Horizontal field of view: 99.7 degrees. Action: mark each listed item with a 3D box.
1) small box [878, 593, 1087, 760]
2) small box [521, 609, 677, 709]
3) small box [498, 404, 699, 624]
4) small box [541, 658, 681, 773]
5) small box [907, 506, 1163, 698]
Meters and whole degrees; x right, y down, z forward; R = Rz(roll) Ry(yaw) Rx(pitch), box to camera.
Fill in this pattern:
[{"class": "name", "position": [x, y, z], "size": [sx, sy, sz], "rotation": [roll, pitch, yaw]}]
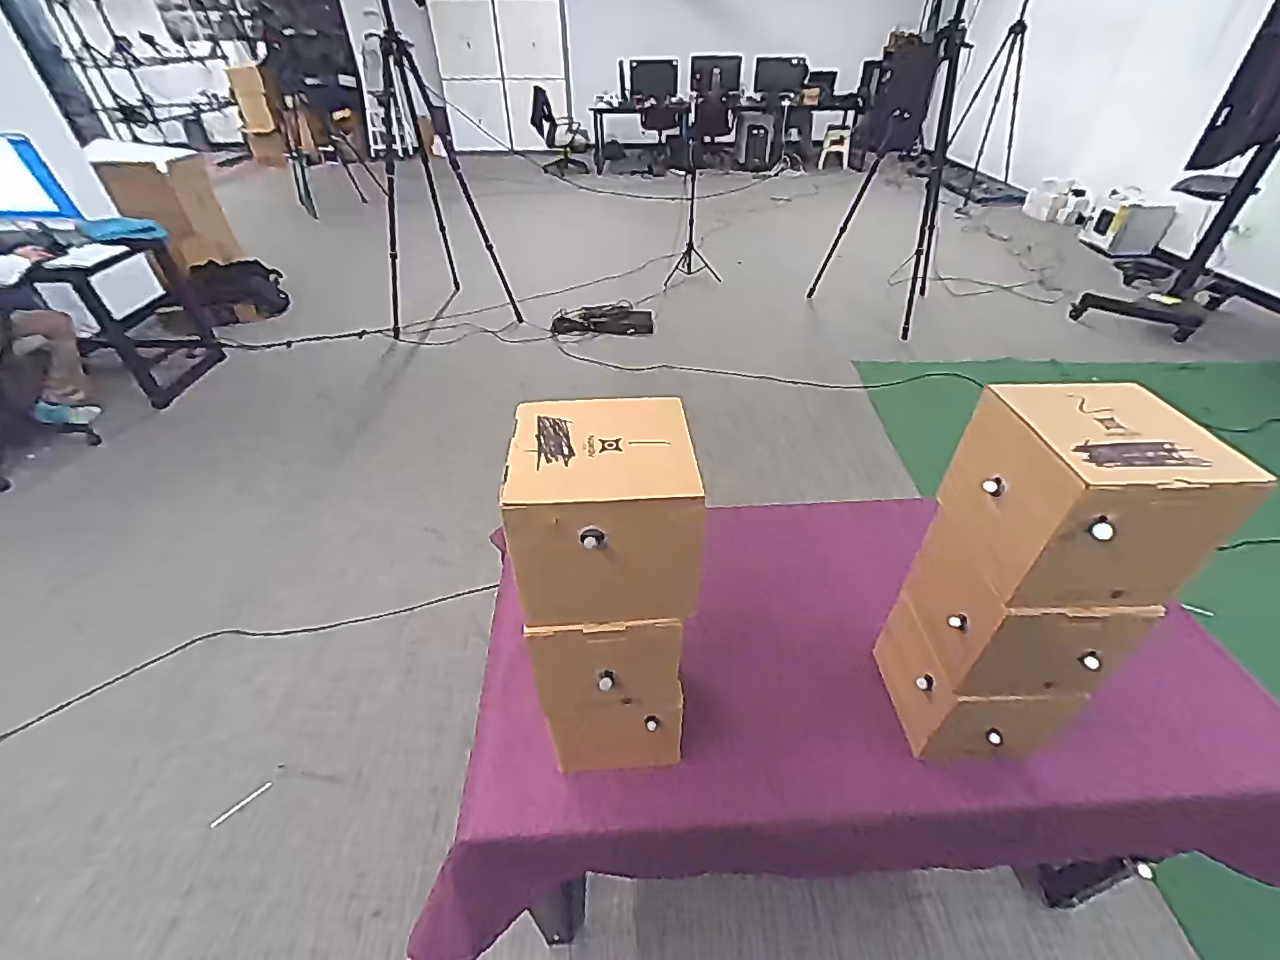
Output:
[{"class": "small box", "position": [0.465, 0.280, 0.770], "size": [0.168, 0.176, 0.179], "rotation": [-1, 39, 0]}, {"class": "small box", "position": [-0.046, 0.166, 0.669], "size": [0.168, 0.176, 0.179], "rotation": [-3, 39, -3]}, {"class": "small box", "position": [-0.038, 0.036, 0.569], "size": [0.179, 0.176, 0.168], "rotation": [-2, 39, -3]}, {"class": "small box", "position": [-0.038, 0.296, 0.770], "size": [0.179, 0.176, 0.168], "rotation": [-3, 39, -3]}, {"class": "small box", "position": [0.461, 0.151, 0.670], "size": [0.168, 0.176, 0.179], "rotation": [0, 39, 2]}]
